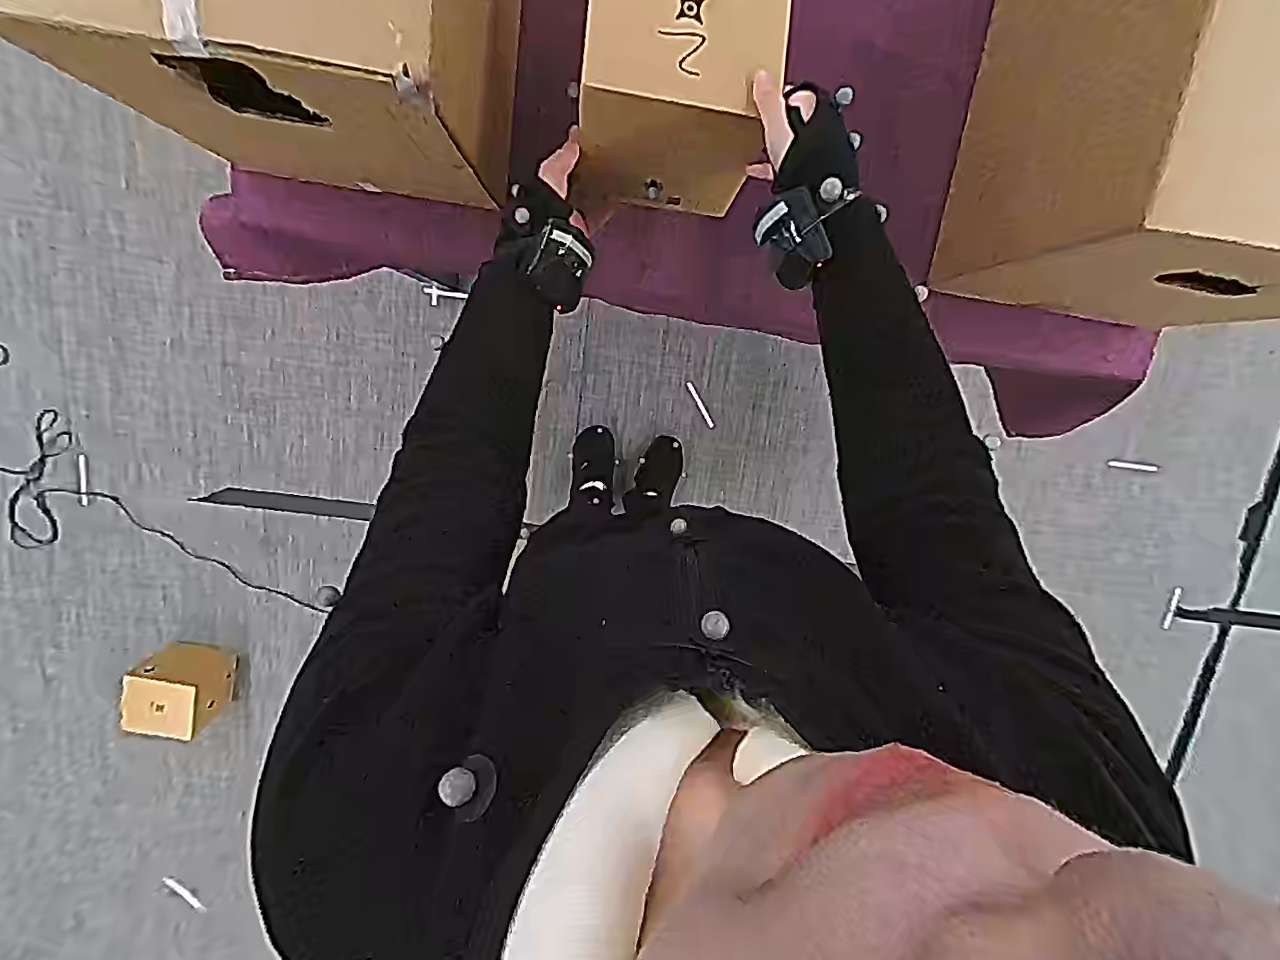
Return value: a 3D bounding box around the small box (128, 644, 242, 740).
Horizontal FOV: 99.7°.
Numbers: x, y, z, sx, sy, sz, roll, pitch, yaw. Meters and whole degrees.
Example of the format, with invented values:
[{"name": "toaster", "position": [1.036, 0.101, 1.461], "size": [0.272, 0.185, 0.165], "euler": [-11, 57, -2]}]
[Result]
[{"name": "small box", "position": [-1.228, 0.570, 1.470], "size": [0.179, 0.176, 0.168], "euler": [13, 102, -5]}]
